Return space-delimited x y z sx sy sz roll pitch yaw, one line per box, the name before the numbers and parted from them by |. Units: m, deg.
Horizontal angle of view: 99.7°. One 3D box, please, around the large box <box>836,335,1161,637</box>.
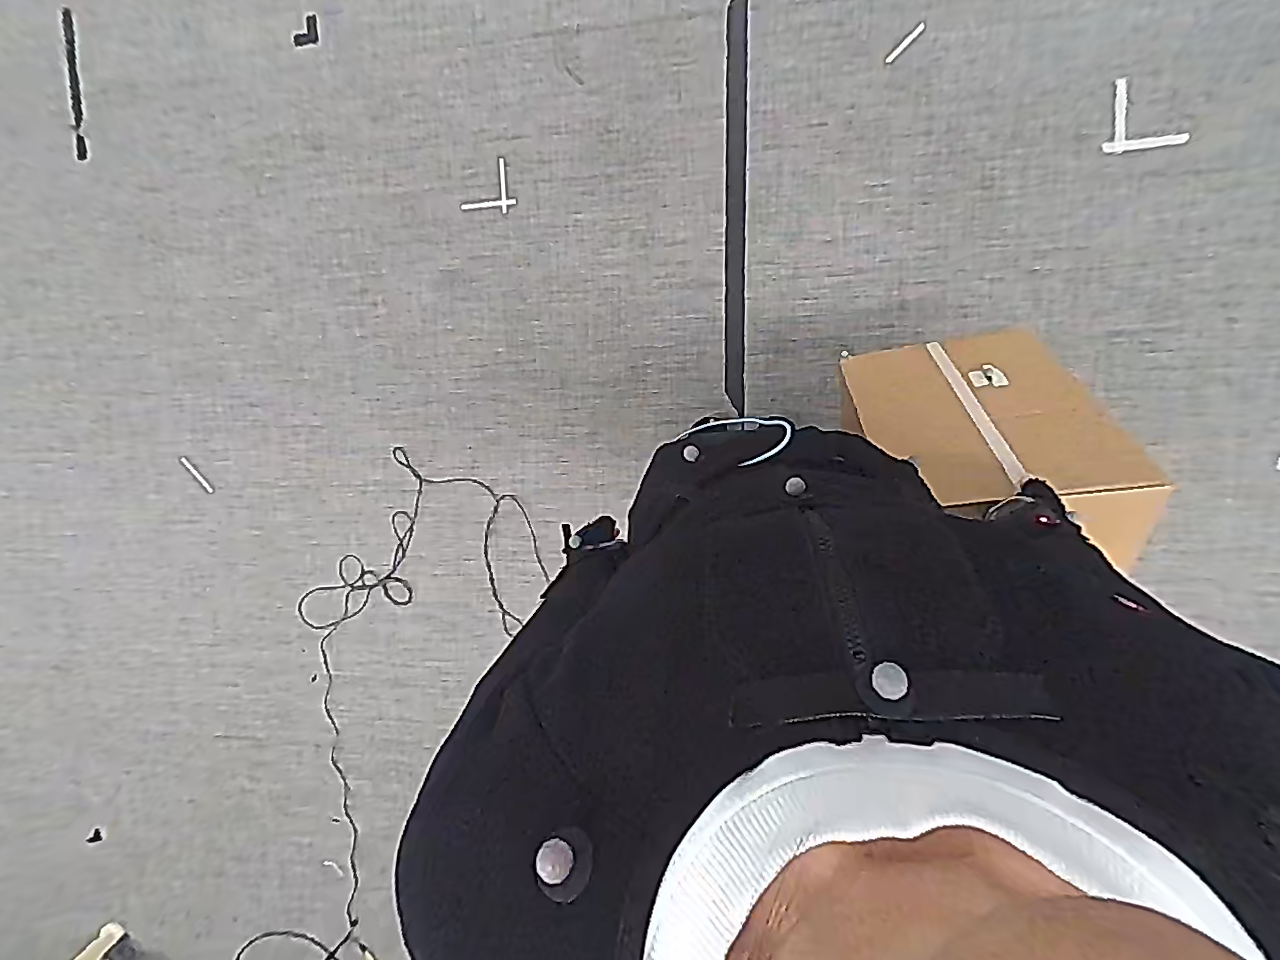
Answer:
large box | 0.537 0.005 0.926 0.320 0.408 0.320 -7 130 12
